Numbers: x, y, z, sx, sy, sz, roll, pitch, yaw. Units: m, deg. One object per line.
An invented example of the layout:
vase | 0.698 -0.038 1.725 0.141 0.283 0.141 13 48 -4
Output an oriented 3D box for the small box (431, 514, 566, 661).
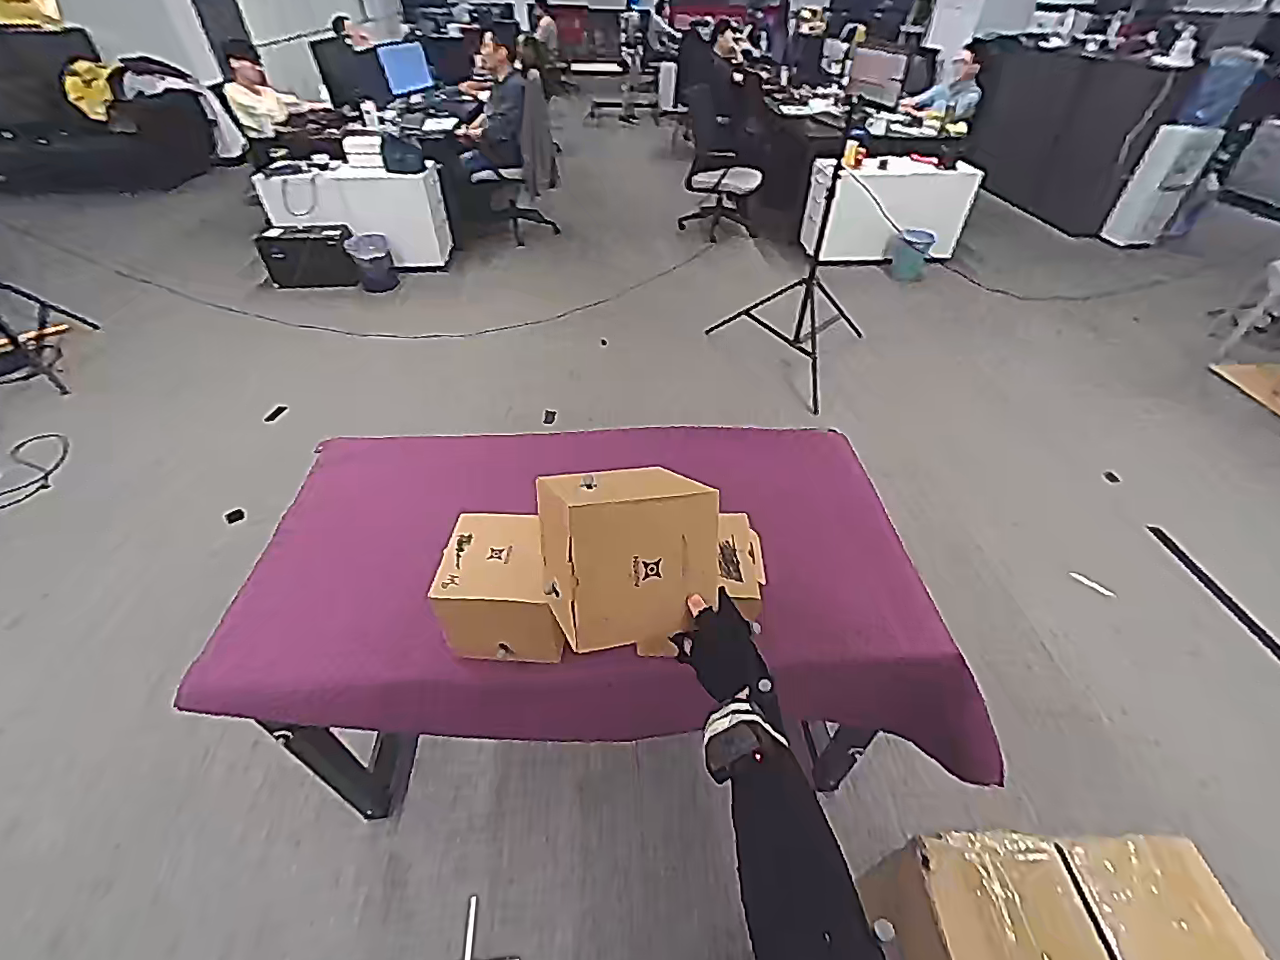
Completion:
small box | -0.207 0.175 0.870 0.179 0.176 0.168 2 42 1

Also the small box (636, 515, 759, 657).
small box | 0.084 0.171 0.877 0.179 0.176 0.168 1 42 1

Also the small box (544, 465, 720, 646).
small box | -0.018 0.079 0.667 0.179 0.168 0.176 -6 13 -22
